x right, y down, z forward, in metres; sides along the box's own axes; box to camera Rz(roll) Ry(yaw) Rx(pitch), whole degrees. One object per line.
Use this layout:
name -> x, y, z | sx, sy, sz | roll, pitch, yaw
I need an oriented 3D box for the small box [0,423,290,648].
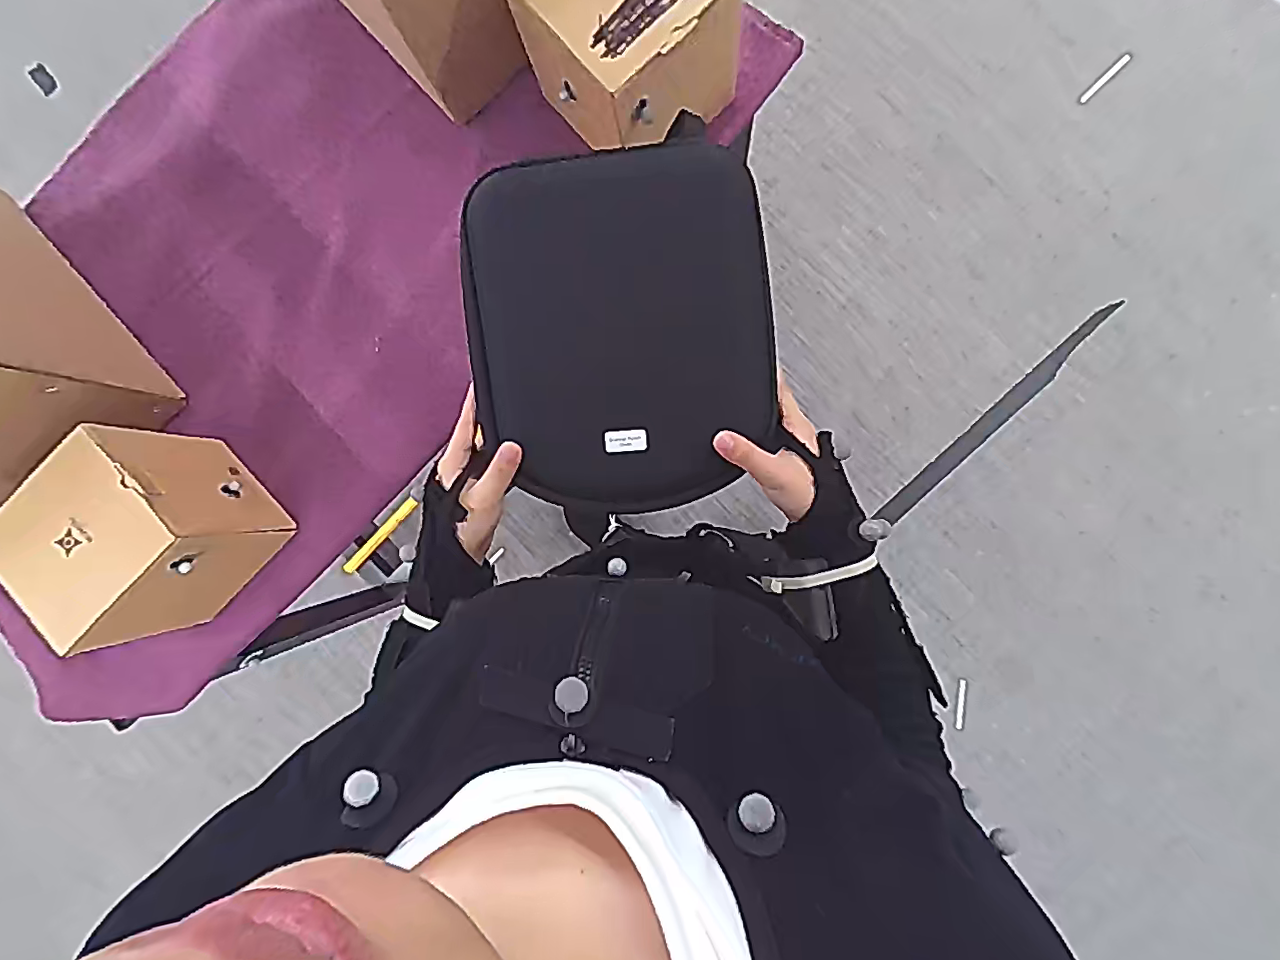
small box -> -0.570, 0.062, 0.636 | 0.168, 0.176, 0.179 | 45, 92, 6
